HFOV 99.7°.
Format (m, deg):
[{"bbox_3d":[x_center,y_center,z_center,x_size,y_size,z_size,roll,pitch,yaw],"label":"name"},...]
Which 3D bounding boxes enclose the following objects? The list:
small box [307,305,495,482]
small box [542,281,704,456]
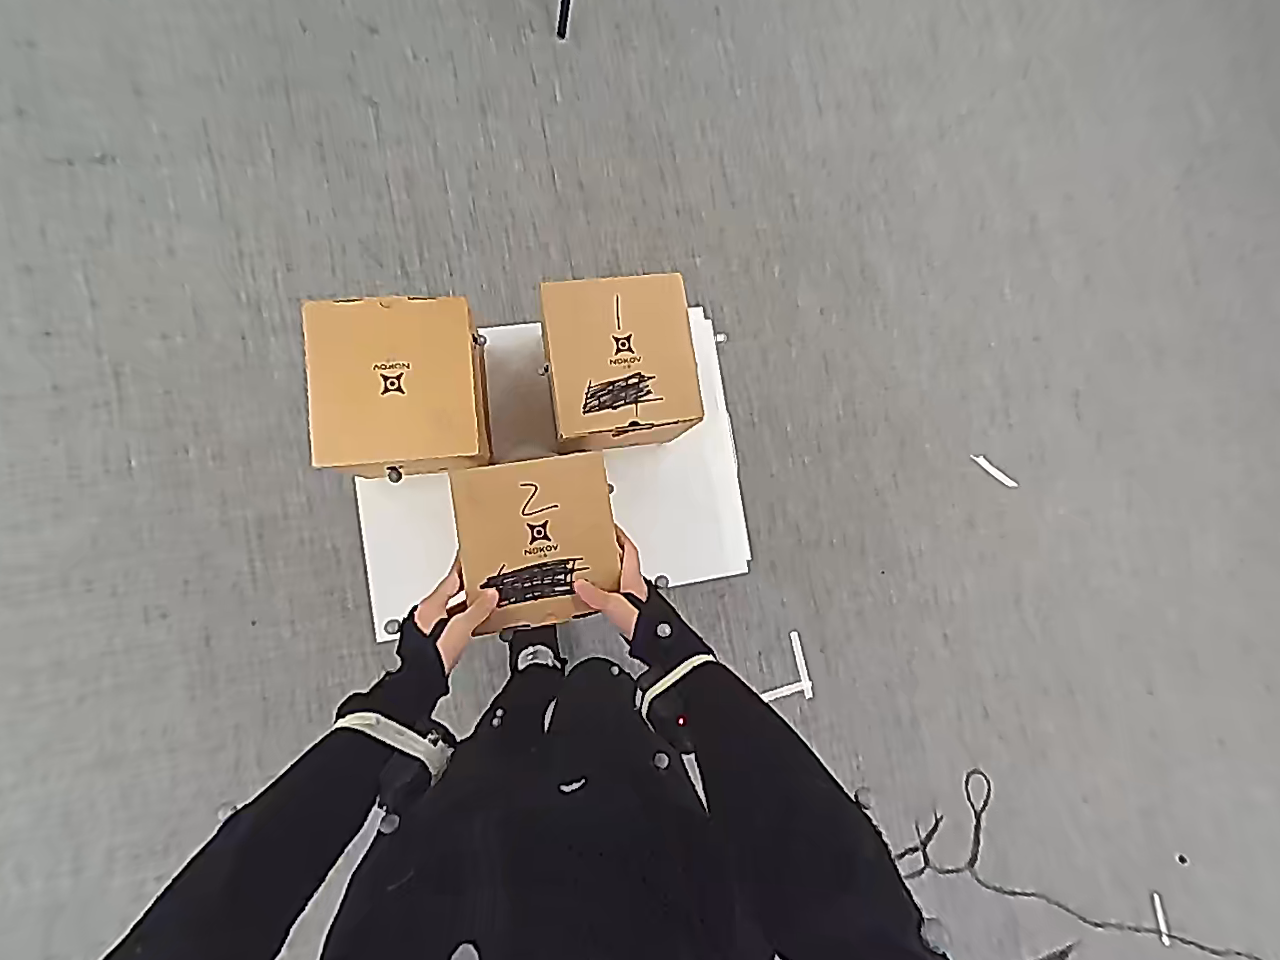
[{"bbox_3d":[-0.269,-0.091,0.645,0.168,0.176,0.179,-5,86,-10],"label":"small box"},{"bbox_3d":[-0.029,-0.129,0.688,0.168,0.176,0.179,-8,86,-10],"label":"small box"}]
